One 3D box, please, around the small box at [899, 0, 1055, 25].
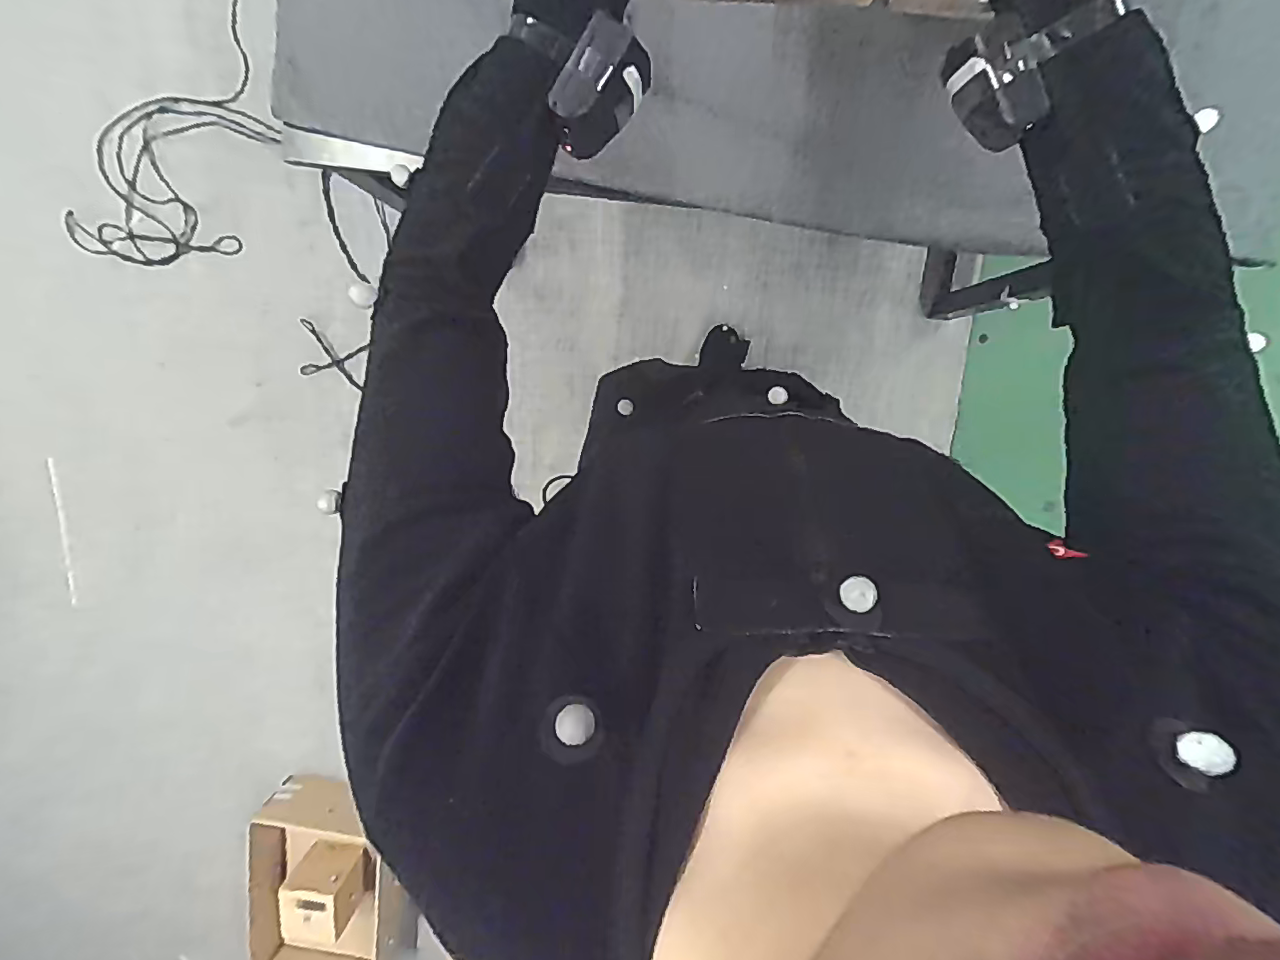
[{"bbox_3d":[0.369,-0.594,0.518,0.168,0.176,0.179,7,101,4],"label":"small box"}]
